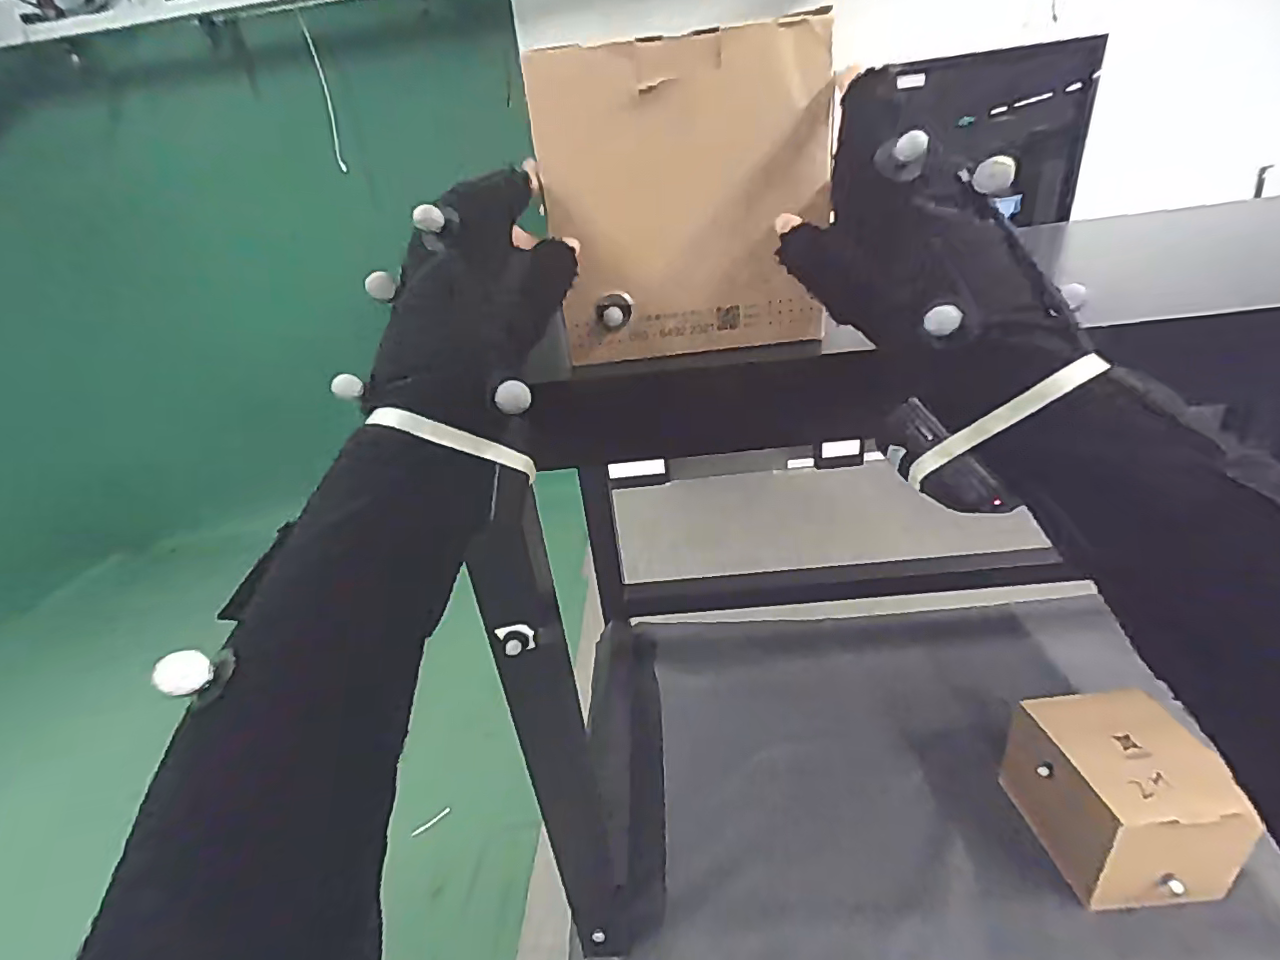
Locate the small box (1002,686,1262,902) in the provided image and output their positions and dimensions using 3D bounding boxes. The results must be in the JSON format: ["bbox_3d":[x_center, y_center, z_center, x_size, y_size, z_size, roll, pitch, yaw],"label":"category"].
[{"bbox_3d":[0.613,0.403,0.707,0.168,0.176,0.179,-7,25,1],"label":"small box"}]

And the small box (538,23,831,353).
[{"bbox_3d":[0.031,-0.194,0.400,0.168,0.176,0.179,-6,24,1],"label":"small box"}]
